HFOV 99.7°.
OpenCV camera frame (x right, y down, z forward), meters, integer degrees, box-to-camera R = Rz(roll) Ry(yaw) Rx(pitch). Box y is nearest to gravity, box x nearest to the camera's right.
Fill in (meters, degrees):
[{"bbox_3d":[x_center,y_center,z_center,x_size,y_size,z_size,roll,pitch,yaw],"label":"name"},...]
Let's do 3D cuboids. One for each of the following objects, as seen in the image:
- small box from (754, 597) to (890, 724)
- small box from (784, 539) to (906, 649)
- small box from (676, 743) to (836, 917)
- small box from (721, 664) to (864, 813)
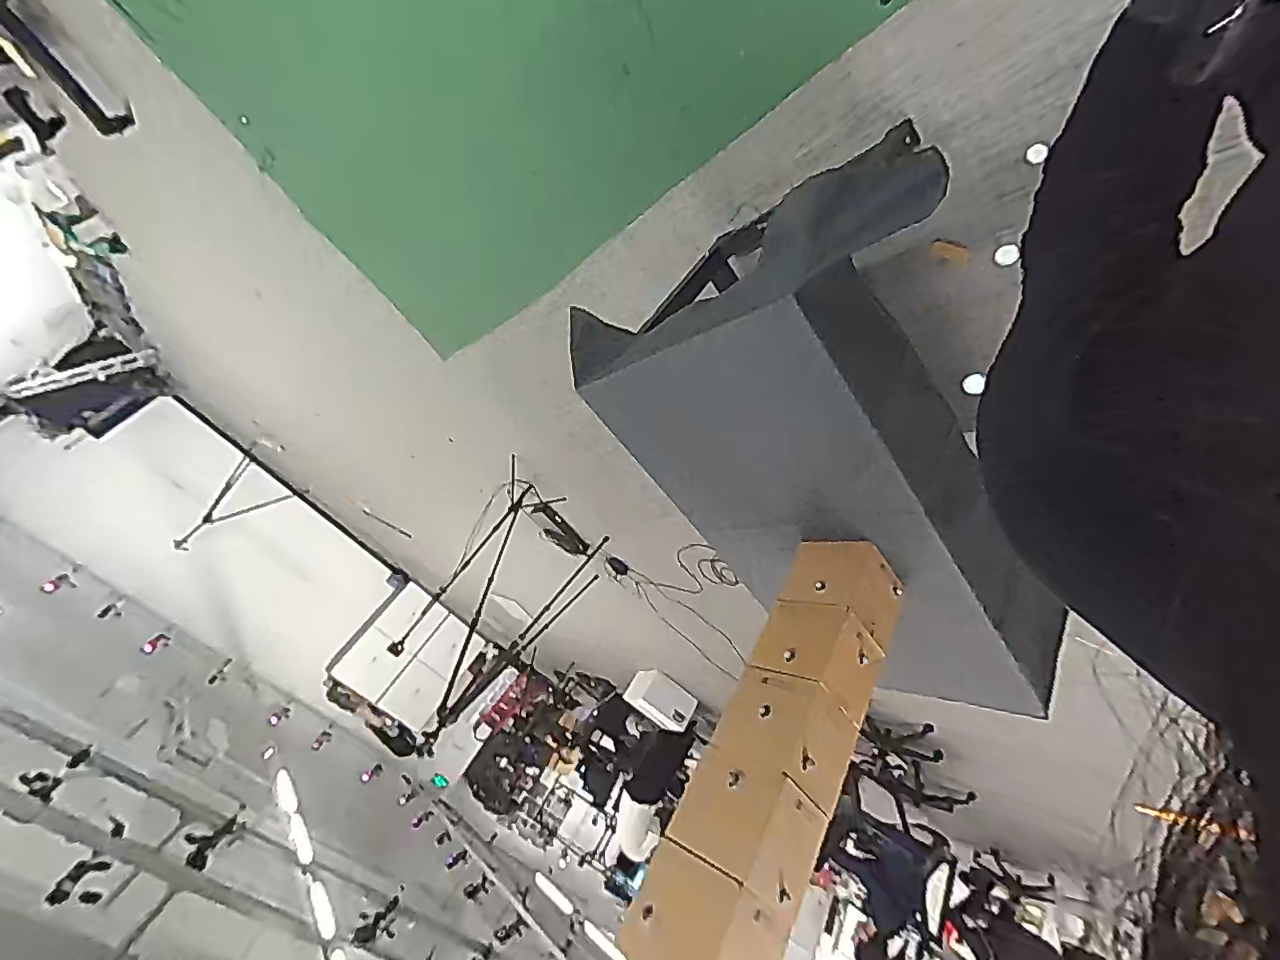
[{"bbox_3d":[0.370,0.354,1.091,0.179,0.176,0.168,-10,127,51],"label":"small box"},{"bbox_3d":[0.452,0.240,1.171,0.168,0.176,0.179,49,149,-22],"label":"small box"},{"bbox_3d":[0.201,0.582,0.925,0.179,0.176,0.168,-7,130,50],"label":"small box"},{"bbox_3d":[0.287,0.469,1.007,0.168,0.176,0.179,-8,129,51],"label":"small box"}]
